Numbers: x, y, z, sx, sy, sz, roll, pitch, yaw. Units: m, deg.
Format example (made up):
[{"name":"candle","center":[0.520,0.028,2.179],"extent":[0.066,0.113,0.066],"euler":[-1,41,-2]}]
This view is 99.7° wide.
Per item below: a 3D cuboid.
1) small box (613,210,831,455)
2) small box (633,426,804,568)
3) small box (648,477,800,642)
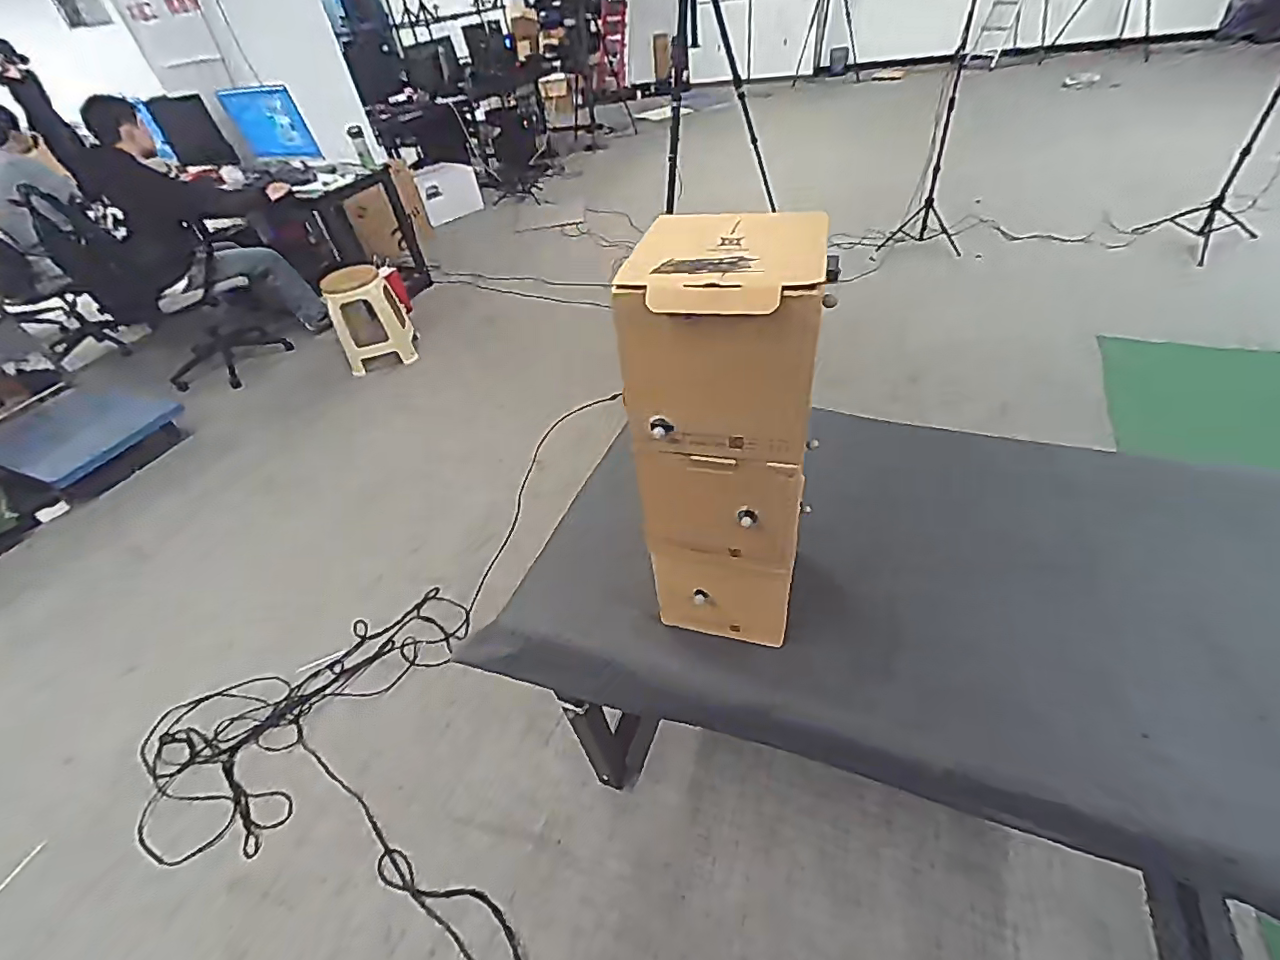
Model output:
[{"name":"small box","center":[0.085,-0.142,0.521],"extent":[0.168,0.176,0.179],"euler":[7,44,14]},{"name":"small box","center":[0.101,-0.021,0.631],"extent":[0.168,0.176,0.179],"euler":[8,44,15]},{"name":"small box","center":[0.121,0.096,0.742],"extent":[0.168,0.176,0.179],"euler":[8,45,17]}]
